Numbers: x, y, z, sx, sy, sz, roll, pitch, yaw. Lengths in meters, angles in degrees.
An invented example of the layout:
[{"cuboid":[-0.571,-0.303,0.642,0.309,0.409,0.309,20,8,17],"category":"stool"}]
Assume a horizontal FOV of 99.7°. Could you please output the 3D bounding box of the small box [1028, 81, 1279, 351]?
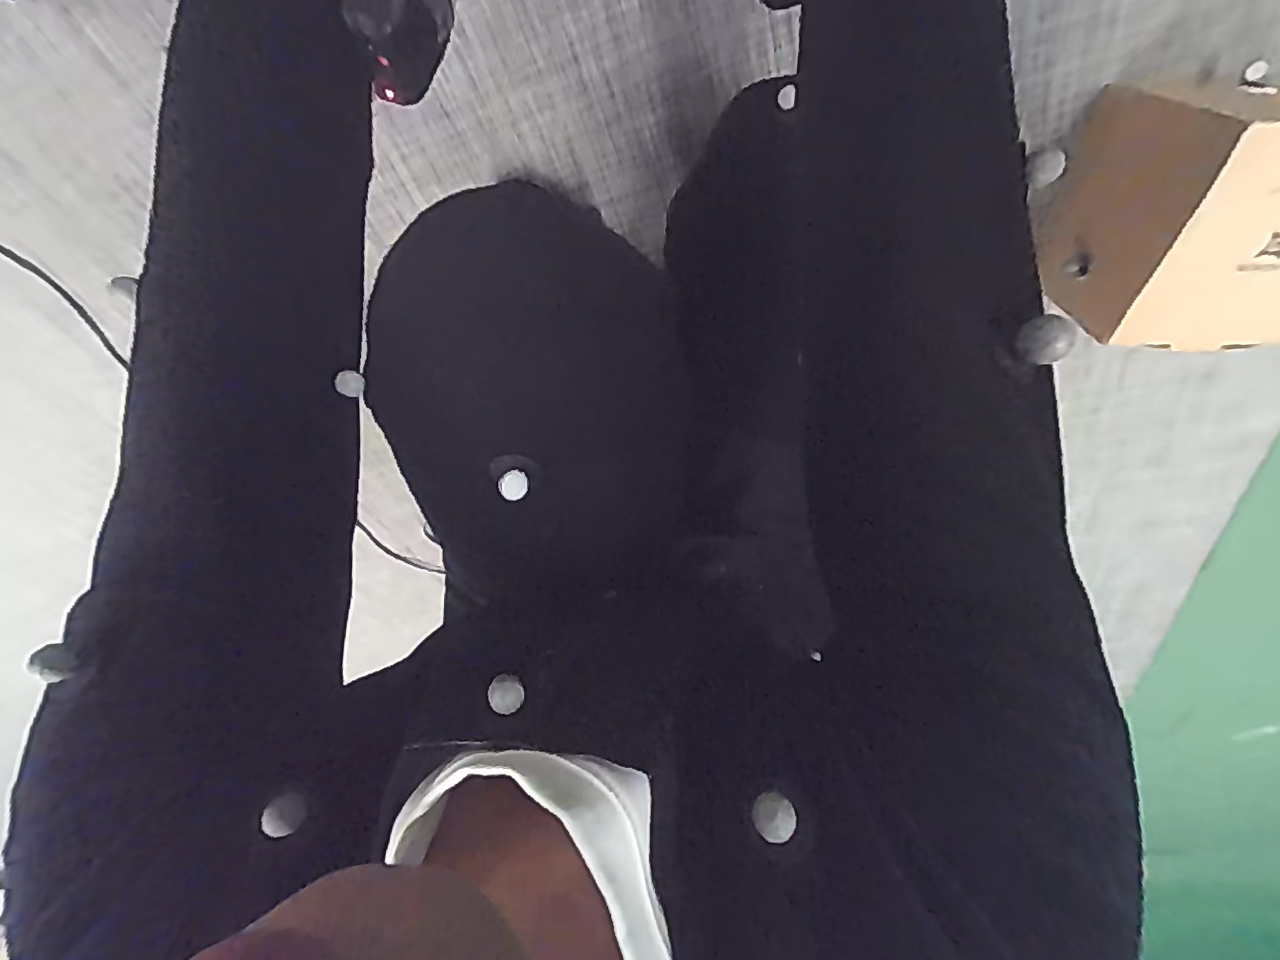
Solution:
[{"cuboid":[0.495,-0.235,0.484,0.168,0.176,0.179,0,134,2],"category":"small box"}]
